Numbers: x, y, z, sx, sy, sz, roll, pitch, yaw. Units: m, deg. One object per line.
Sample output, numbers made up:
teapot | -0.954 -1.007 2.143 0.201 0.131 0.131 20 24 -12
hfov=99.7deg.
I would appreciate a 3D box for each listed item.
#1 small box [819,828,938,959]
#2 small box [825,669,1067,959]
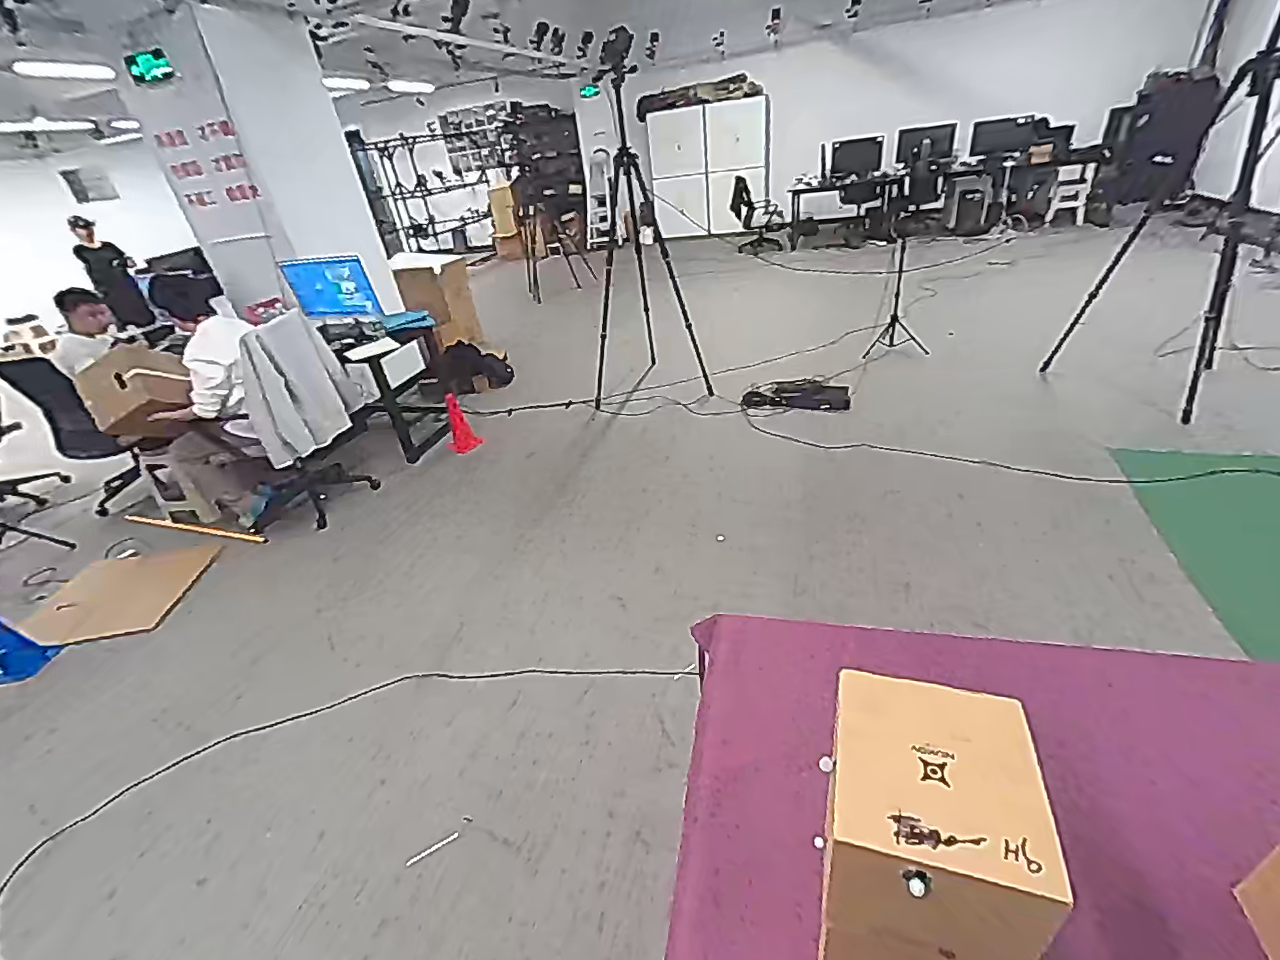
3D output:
small box | 0.295 0.458 0.609 0.168 0.176 0.179 3 35 21
small box | 0.271 0.319 0.522 0.168 0.176 0.179 2 32 21
